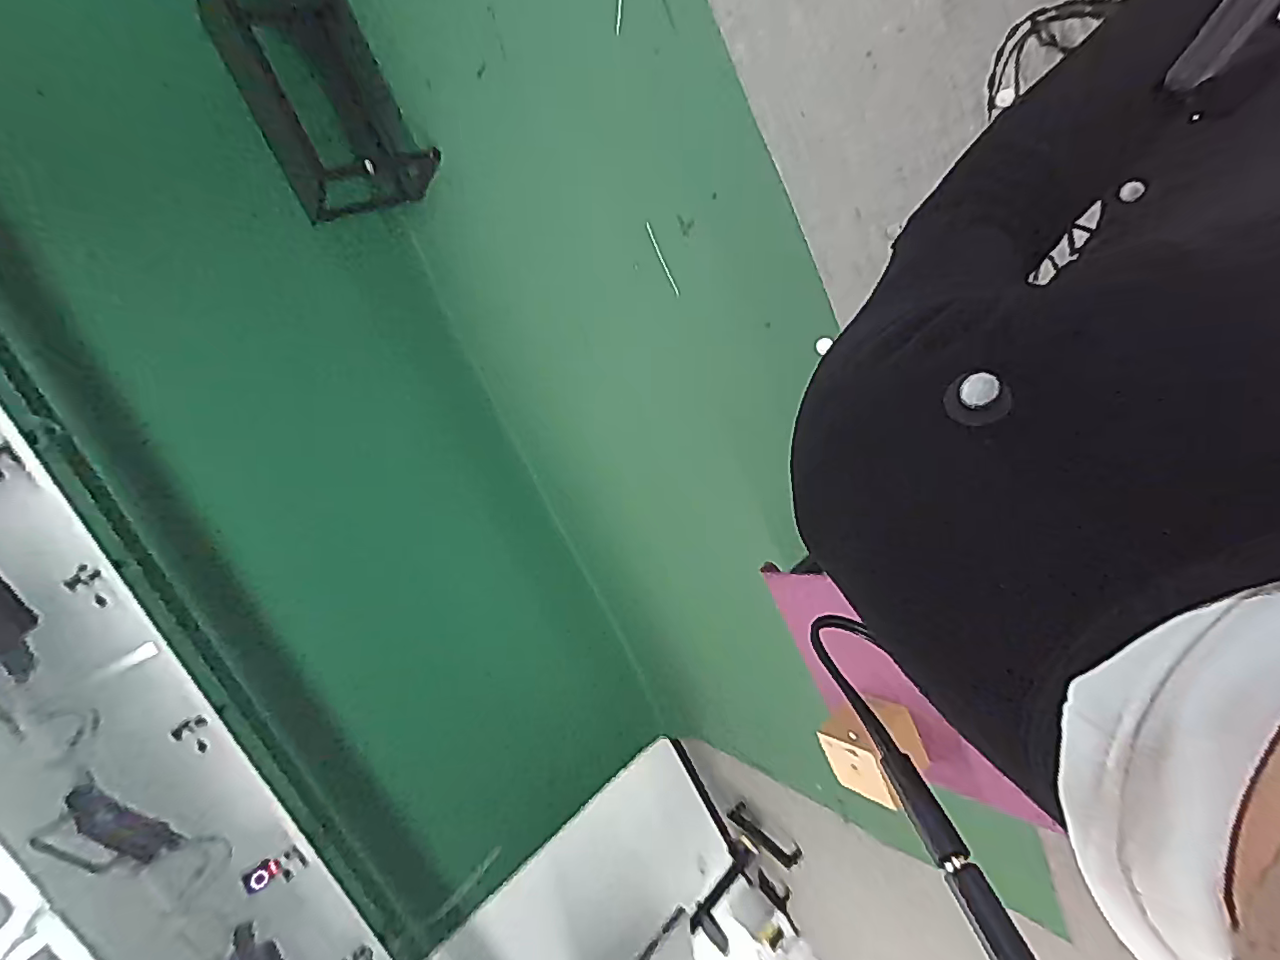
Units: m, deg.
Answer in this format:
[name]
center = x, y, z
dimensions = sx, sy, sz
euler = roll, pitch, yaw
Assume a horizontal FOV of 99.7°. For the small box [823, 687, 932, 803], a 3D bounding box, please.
[small box]
center = 0.611, 0.668, 1.384
dimensions = 0.168, 0.176, 0.179
euler = -9, 110, 58
